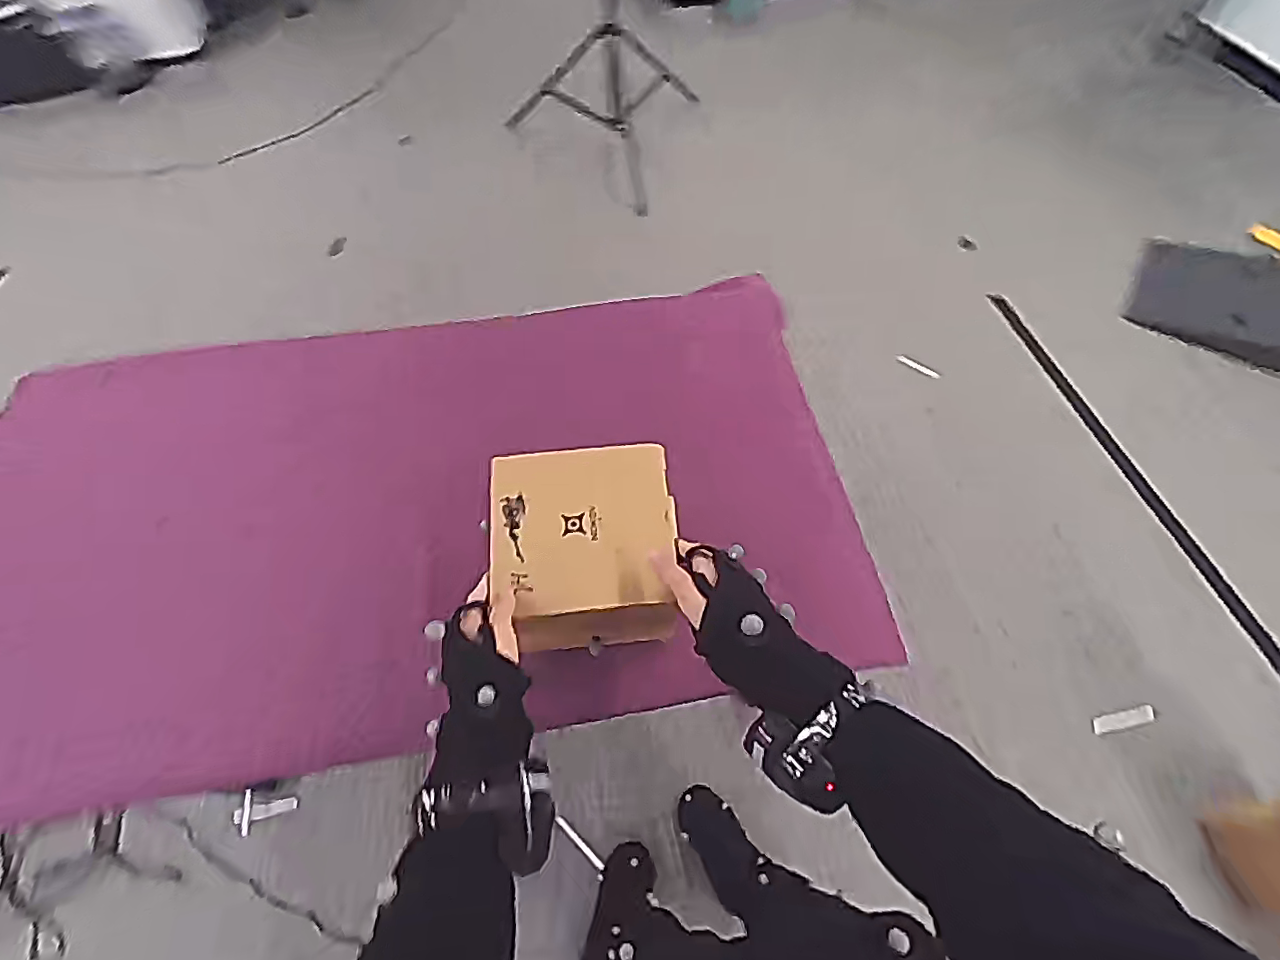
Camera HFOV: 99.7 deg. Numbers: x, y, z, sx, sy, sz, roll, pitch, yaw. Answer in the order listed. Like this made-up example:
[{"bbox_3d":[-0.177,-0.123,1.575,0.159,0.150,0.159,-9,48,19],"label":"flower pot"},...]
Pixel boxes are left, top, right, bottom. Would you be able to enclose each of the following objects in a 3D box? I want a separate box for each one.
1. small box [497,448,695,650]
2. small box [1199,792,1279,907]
[{"bbox_3d":[-0.049,0.079,0.575,0.179,0.176,0.168,-4,64,-5],"label":"small box"},{"bbox_3d":[1.281,0.722,1.057,0.168,0.176,0.179,-10,62,-5],"label":"small box"}]
